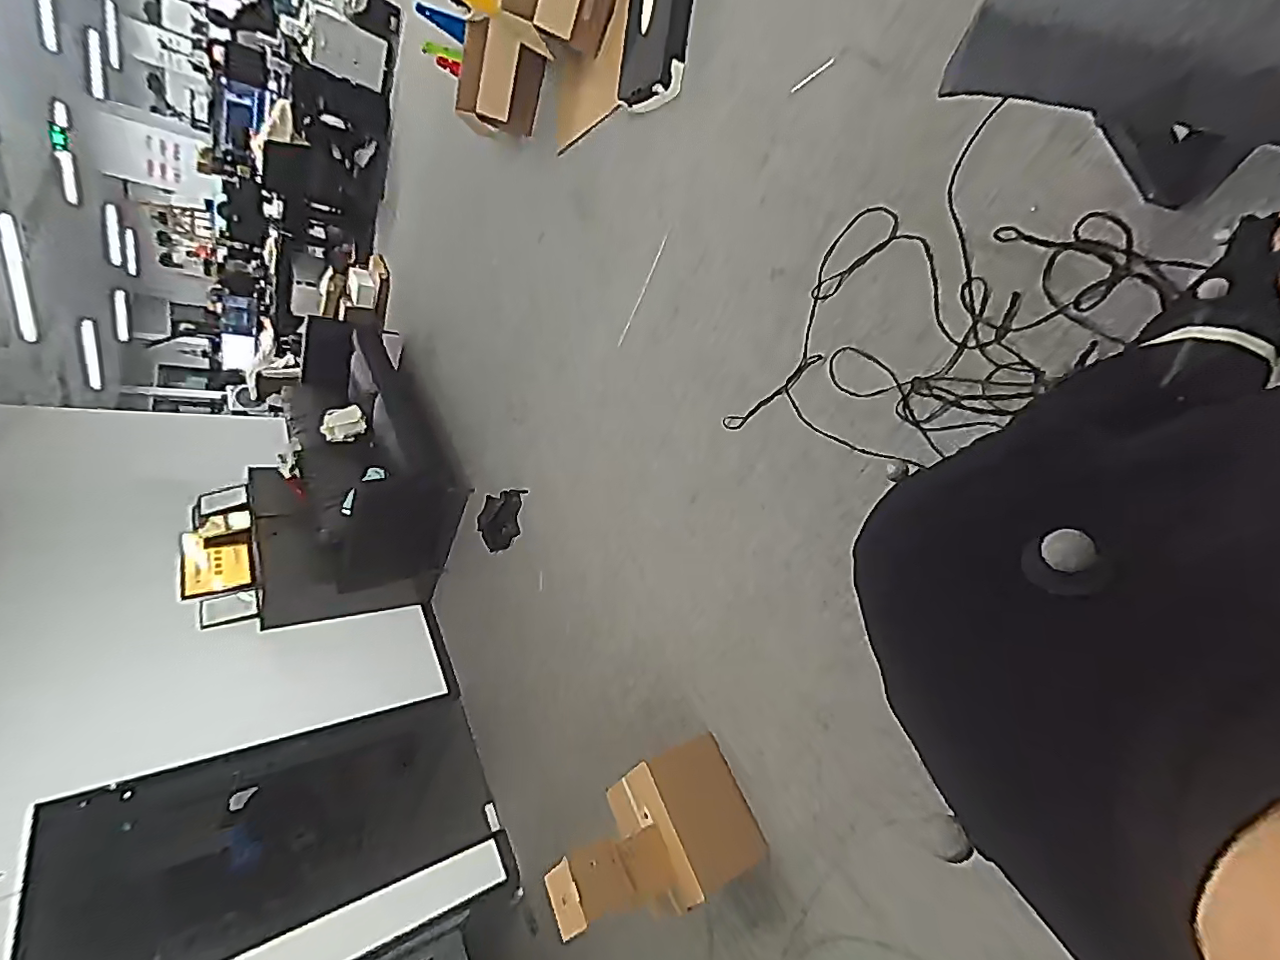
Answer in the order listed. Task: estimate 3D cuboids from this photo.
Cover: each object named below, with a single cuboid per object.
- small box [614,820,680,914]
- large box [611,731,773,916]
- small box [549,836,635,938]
[{"bbox_3d":[-0.005,1.181,1.655,0.168,0.176,0.179,-51,53,39],"label":"small box"},{"bbox_3d":[0.165,1.143,1.829,0.320,0.320,0.408,-56,50,35],"label":"large box"},{"bbox_3d":[-0.134,1.165,1.557,0.168,0.176,0.179,58,134,34],"label":"small box"}]
